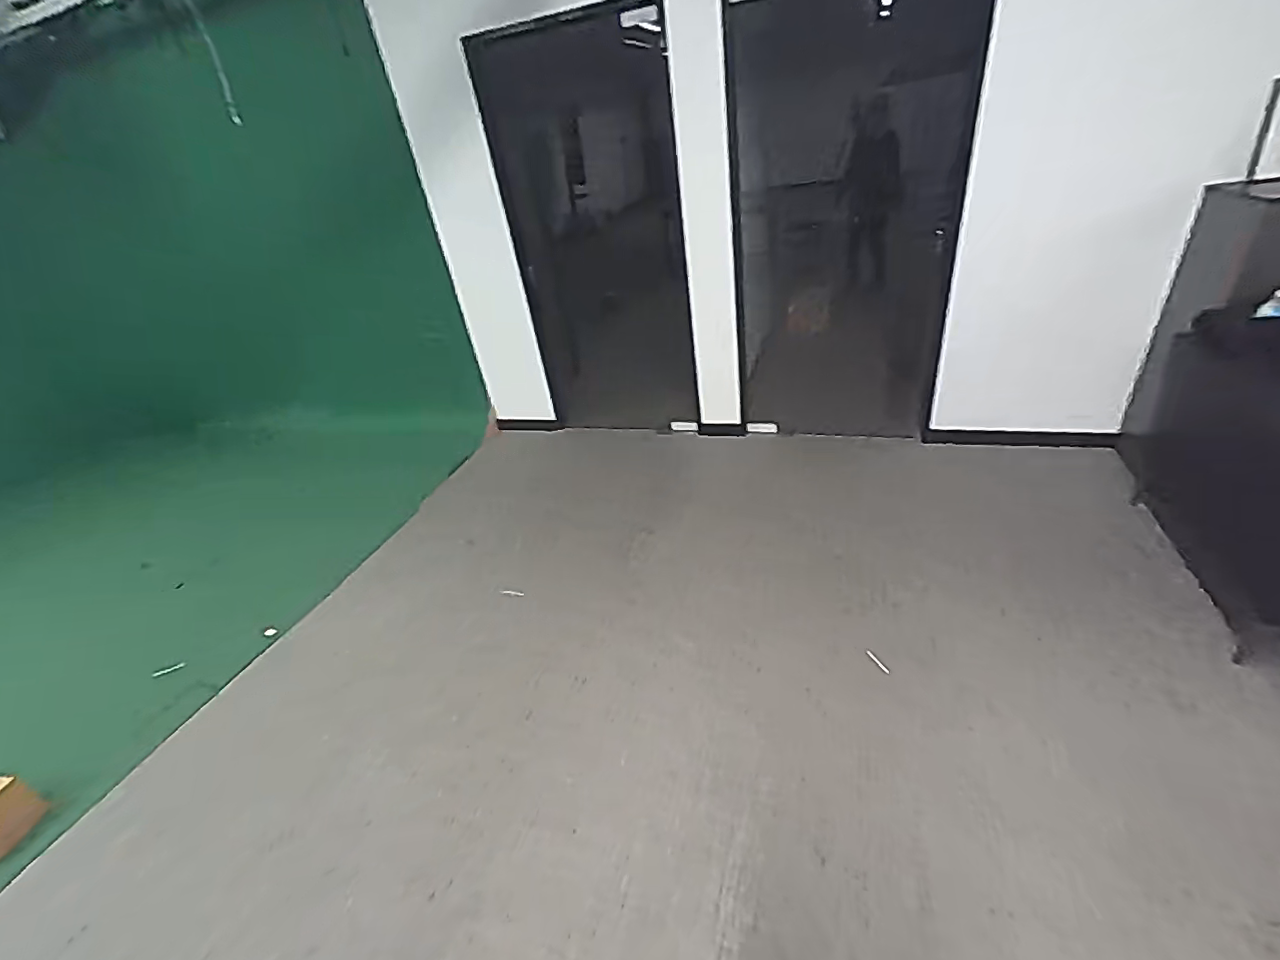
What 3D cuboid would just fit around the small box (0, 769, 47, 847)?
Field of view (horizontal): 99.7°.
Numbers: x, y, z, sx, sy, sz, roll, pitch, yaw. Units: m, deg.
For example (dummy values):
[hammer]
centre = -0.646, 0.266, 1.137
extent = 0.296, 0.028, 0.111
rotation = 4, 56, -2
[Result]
[small box]
centre = -1.979, 0.999, 1.623
extent = 0.168, 0.176, 0.179
rotation = -4, 31, 6
